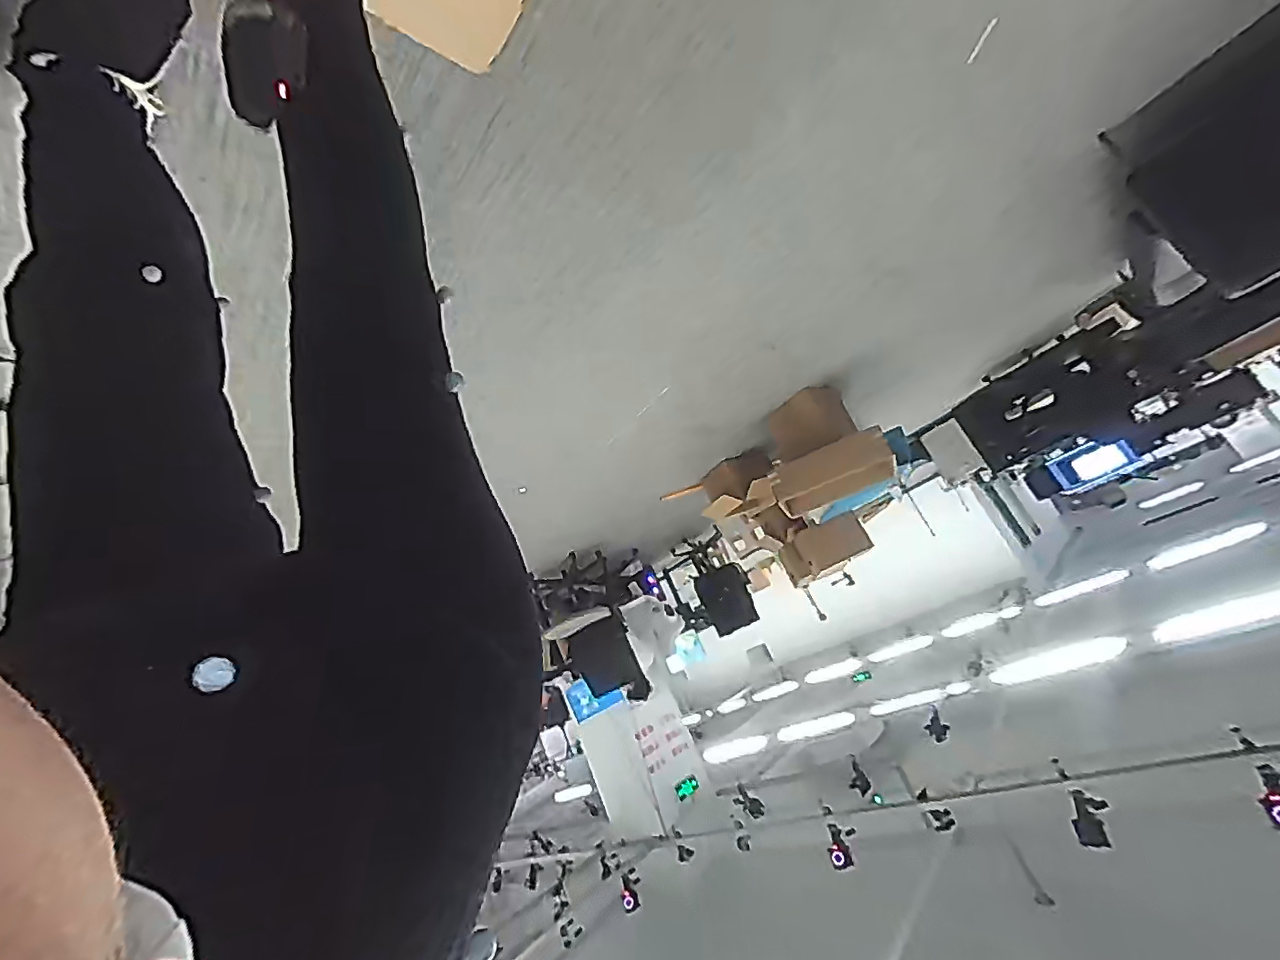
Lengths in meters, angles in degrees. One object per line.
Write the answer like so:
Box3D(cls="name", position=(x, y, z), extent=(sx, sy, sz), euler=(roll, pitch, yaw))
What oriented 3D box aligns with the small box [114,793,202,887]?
Box3D(cls="small box", position=(-1.400, 1.037, 1.567), extent=(0.168, 0.176, 0.179), euler=(-5, 155, -48))
